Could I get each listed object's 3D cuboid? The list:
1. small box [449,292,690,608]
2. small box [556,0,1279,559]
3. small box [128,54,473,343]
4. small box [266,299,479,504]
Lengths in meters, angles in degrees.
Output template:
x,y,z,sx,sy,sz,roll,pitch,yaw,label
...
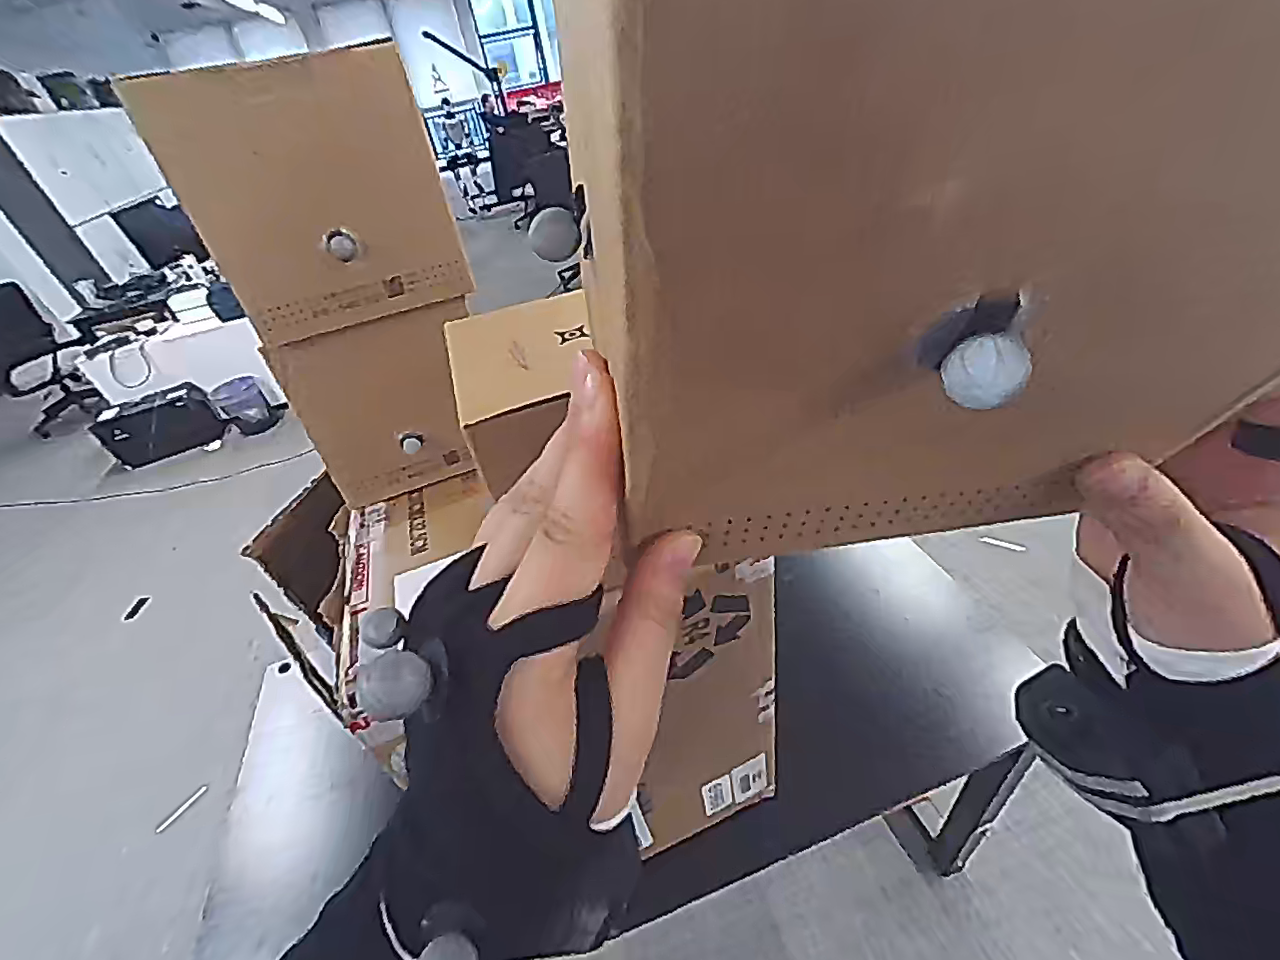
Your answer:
x,y,z,sx,sy,sz,roll,pitch,yaw,label
-0.031,-0.033,0.425,0.179,0.176,0.168,-19,39,-10,small box
0.070,-0.086,0.176,0.179,0.176,0.168,-7,59,-4,small box
-0.257,-0.233,0.455,0.168,0.176,0.179,-22,38,-15,small box
-0.243,-0.104,0.558,0.168,0.176,0.179,-21,38,-14,small box
